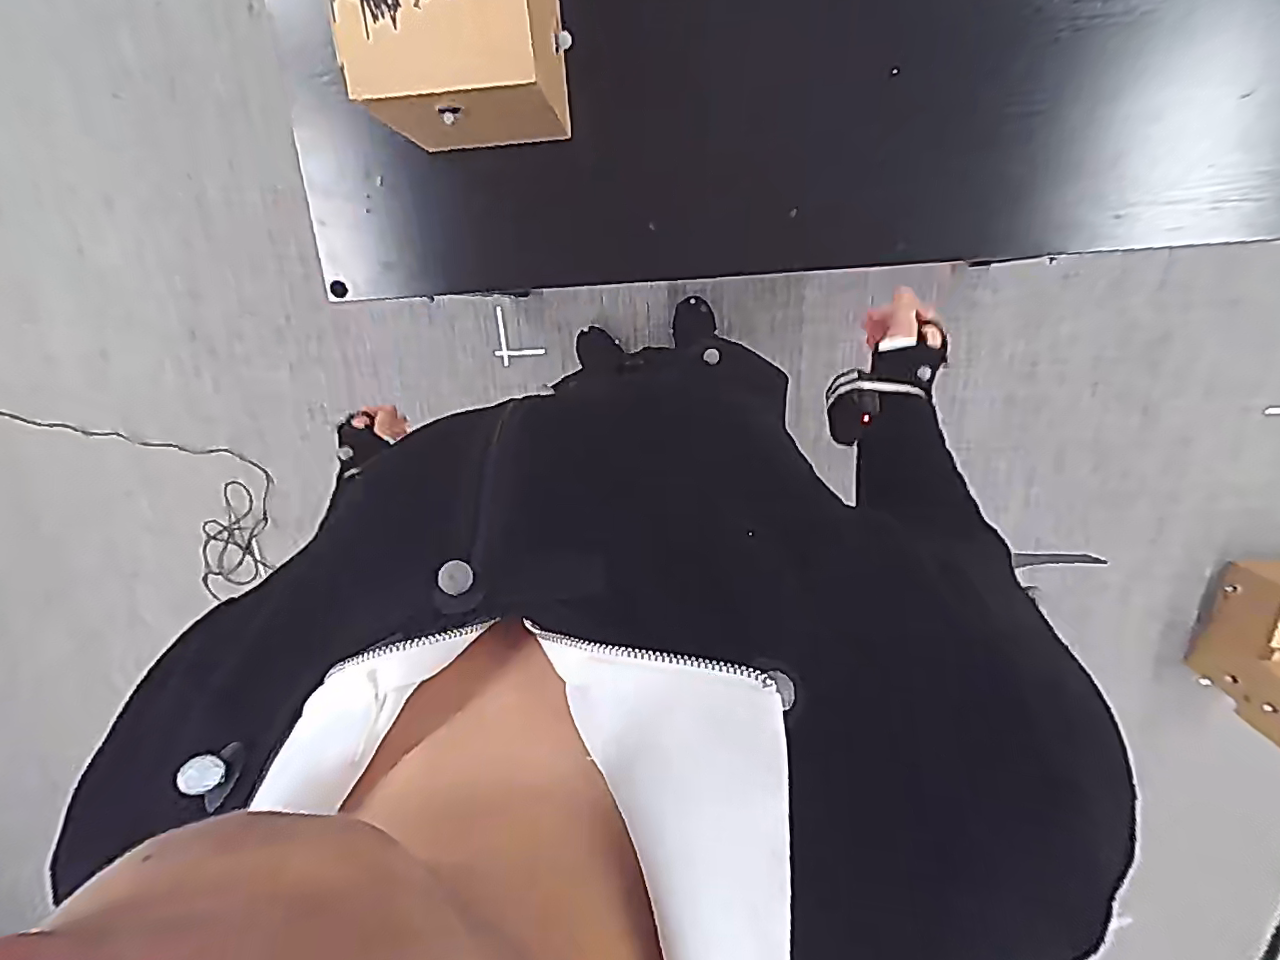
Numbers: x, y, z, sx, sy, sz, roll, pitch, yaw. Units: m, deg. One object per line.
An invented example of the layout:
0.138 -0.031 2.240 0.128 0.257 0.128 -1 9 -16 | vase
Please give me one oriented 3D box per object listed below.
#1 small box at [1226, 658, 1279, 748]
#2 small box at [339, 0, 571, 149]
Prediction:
1.618 0.555 1.323 0.179 0.176 0.168 0 108 6 | small box
-0.178 -0.455 0.549 0.179 0.176 0.168 -2 107 4 | small box
